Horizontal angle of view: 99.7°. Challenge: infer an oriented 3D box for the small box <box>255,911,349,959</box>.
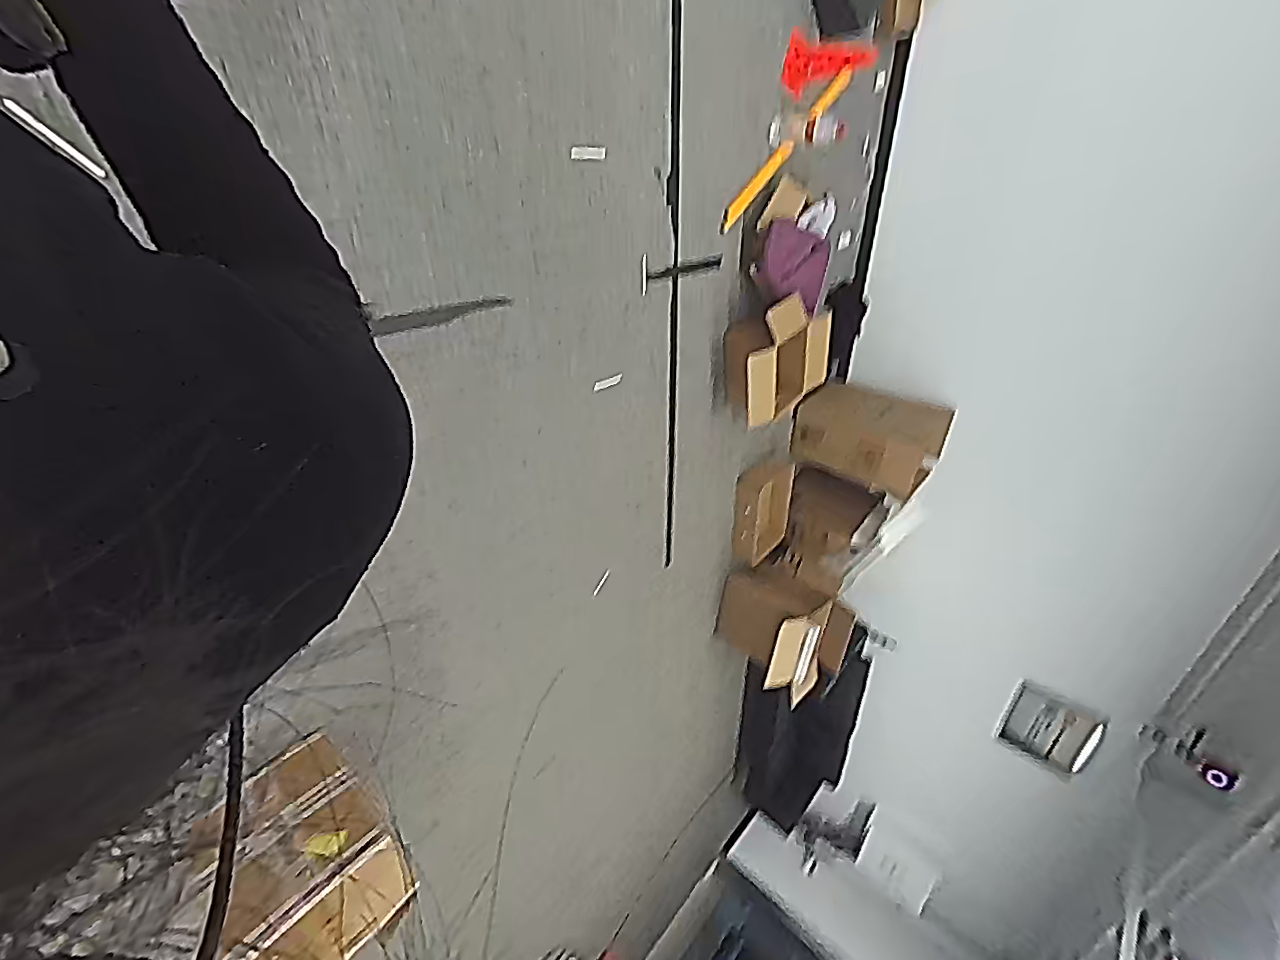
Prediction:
[{"bbox_3d":[-0.818,1.207,1.301,0.179,0.176,0.168,-37,132,-33],"label":"small box"}]
